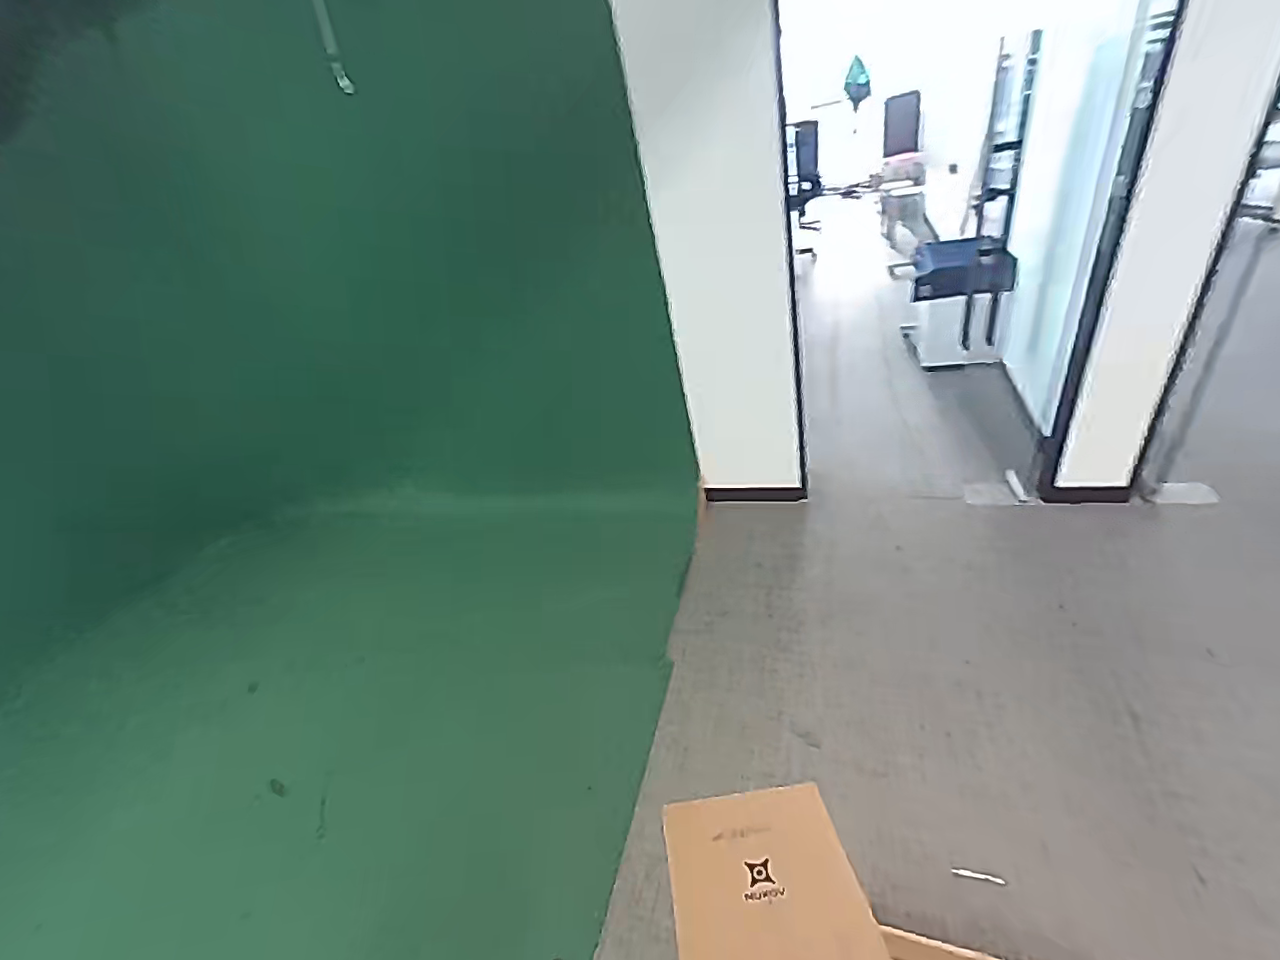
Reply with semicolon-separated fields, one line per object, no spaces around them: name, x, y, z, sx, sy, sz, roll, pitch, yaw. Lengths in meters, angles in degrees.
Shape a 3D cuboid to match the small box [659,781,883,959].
small box;0.114;0.428;0.509;0.168;0.176;0.179;-7;19;0
